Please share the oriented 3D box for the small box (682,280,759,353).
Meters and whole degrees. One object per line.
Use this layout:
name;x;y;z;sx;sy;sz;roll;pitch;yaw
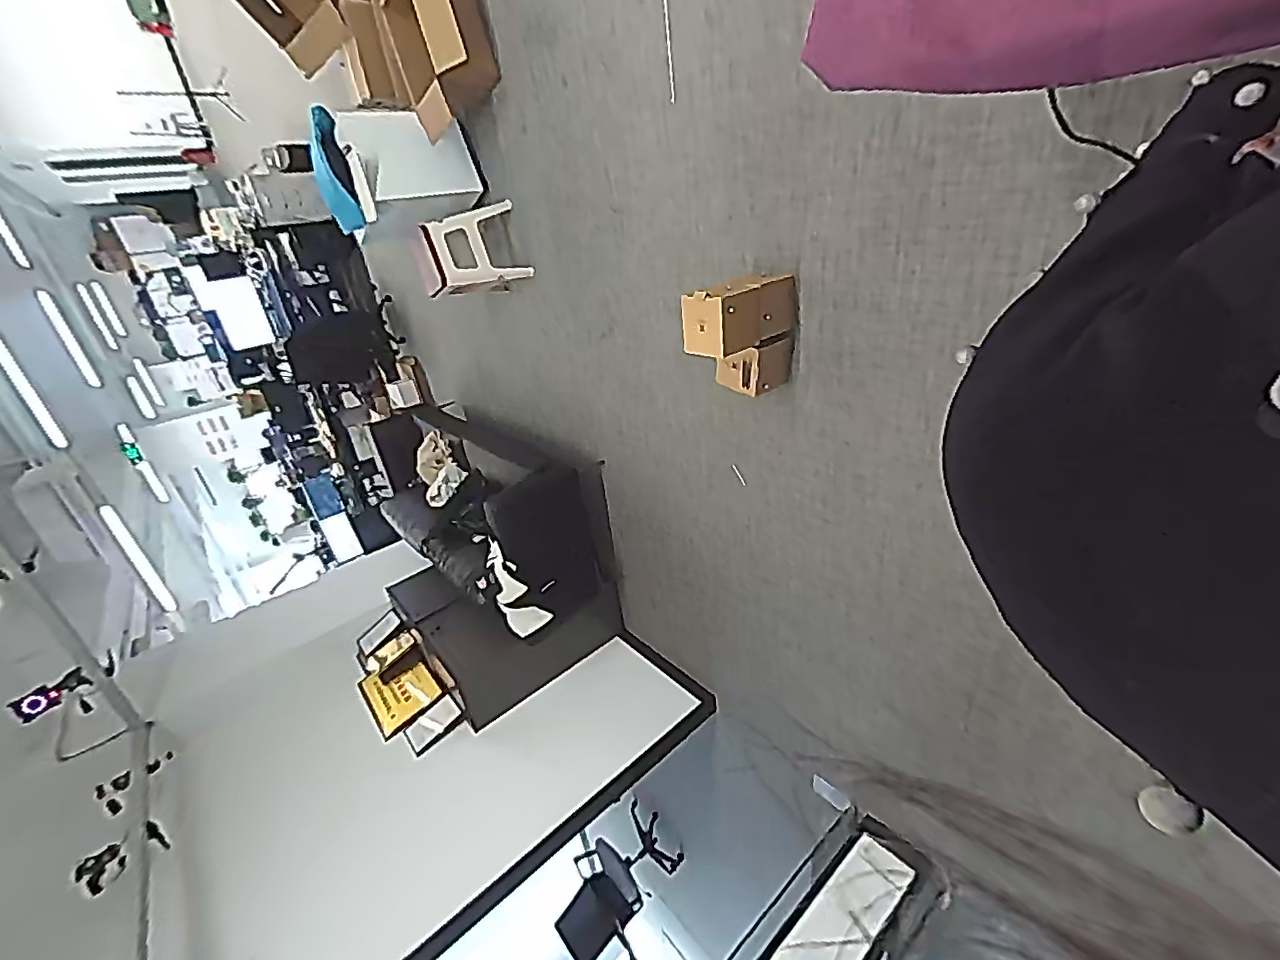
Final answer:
small box;0.249;-0.499;1.642;0.168;0.176;0.179;24;129;46
